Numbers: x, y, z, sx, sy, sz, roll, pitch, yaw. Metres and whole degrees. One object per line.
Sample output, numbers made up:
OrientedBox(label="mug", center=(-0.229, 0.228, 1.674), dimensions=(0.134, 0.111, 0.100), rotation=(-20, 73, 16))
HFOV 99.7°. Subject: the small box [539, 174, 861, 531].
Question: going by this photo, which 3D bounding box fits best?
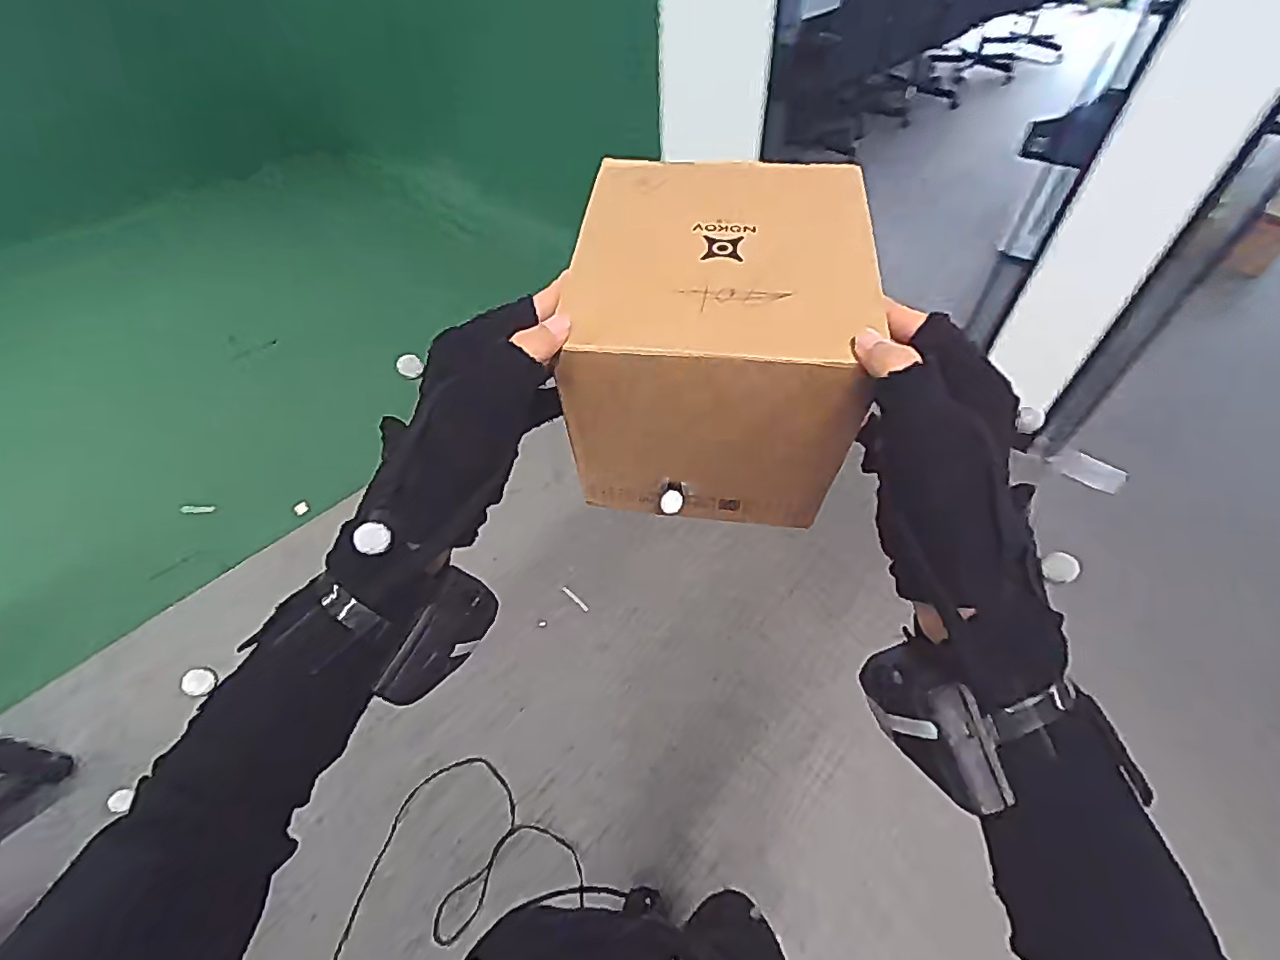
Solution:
OrientedBox(label="small box", center=(0.040, -0.085, 0.382), dimensions=(0.168, 0.176, 0.179), rotation=(4, 57, 6))
